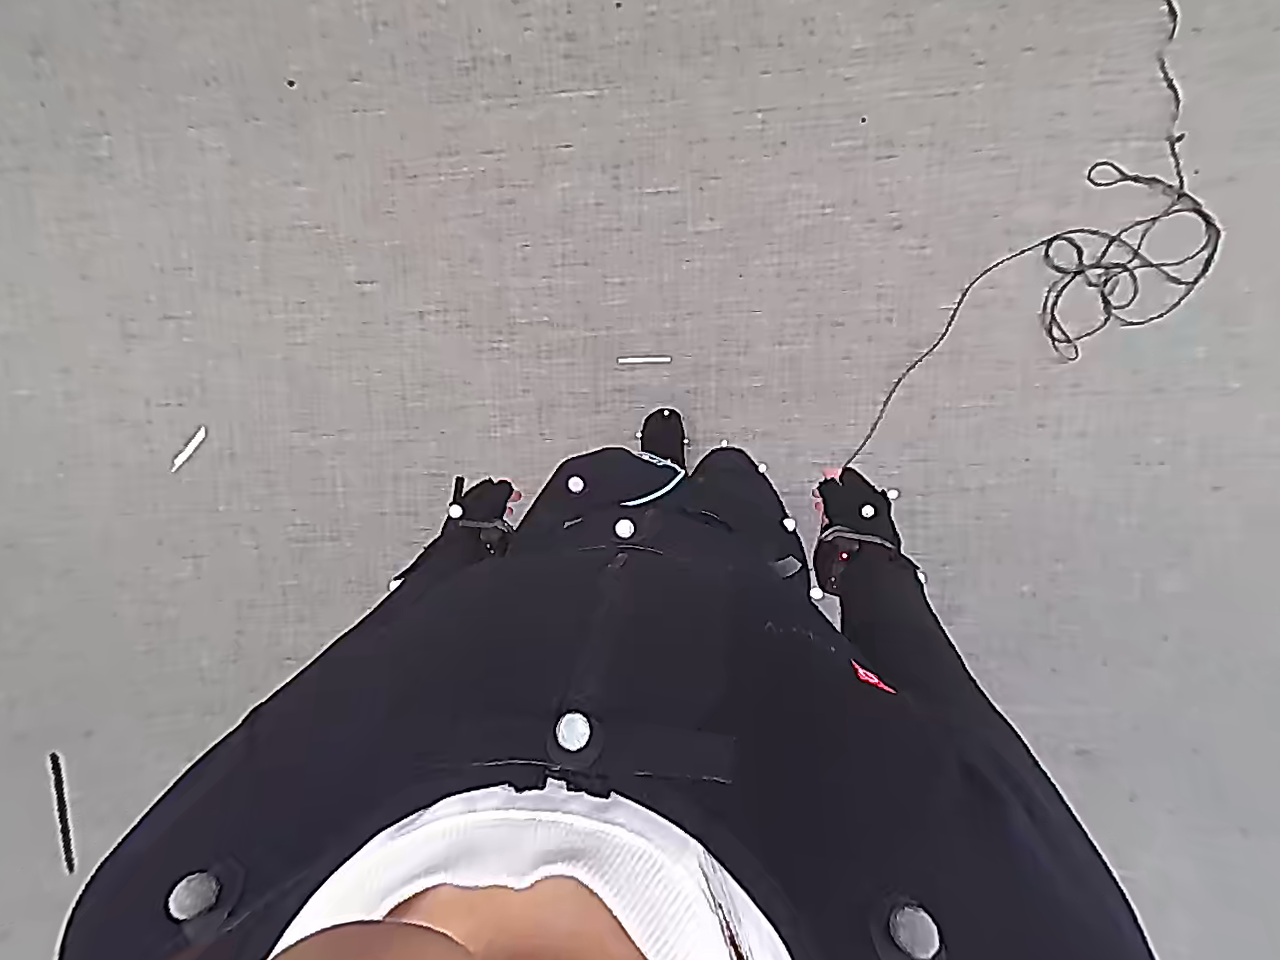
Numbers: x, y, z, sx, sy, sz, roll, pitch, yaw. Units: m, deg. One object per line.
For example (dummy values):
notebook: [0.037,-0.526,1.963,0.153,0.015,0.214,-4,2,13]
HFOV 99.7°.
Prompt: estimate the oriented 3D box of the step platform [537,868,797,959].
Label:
step platform: [0.070,1.257,1.453,0.684,0.204,0.286,-2,94,6]
